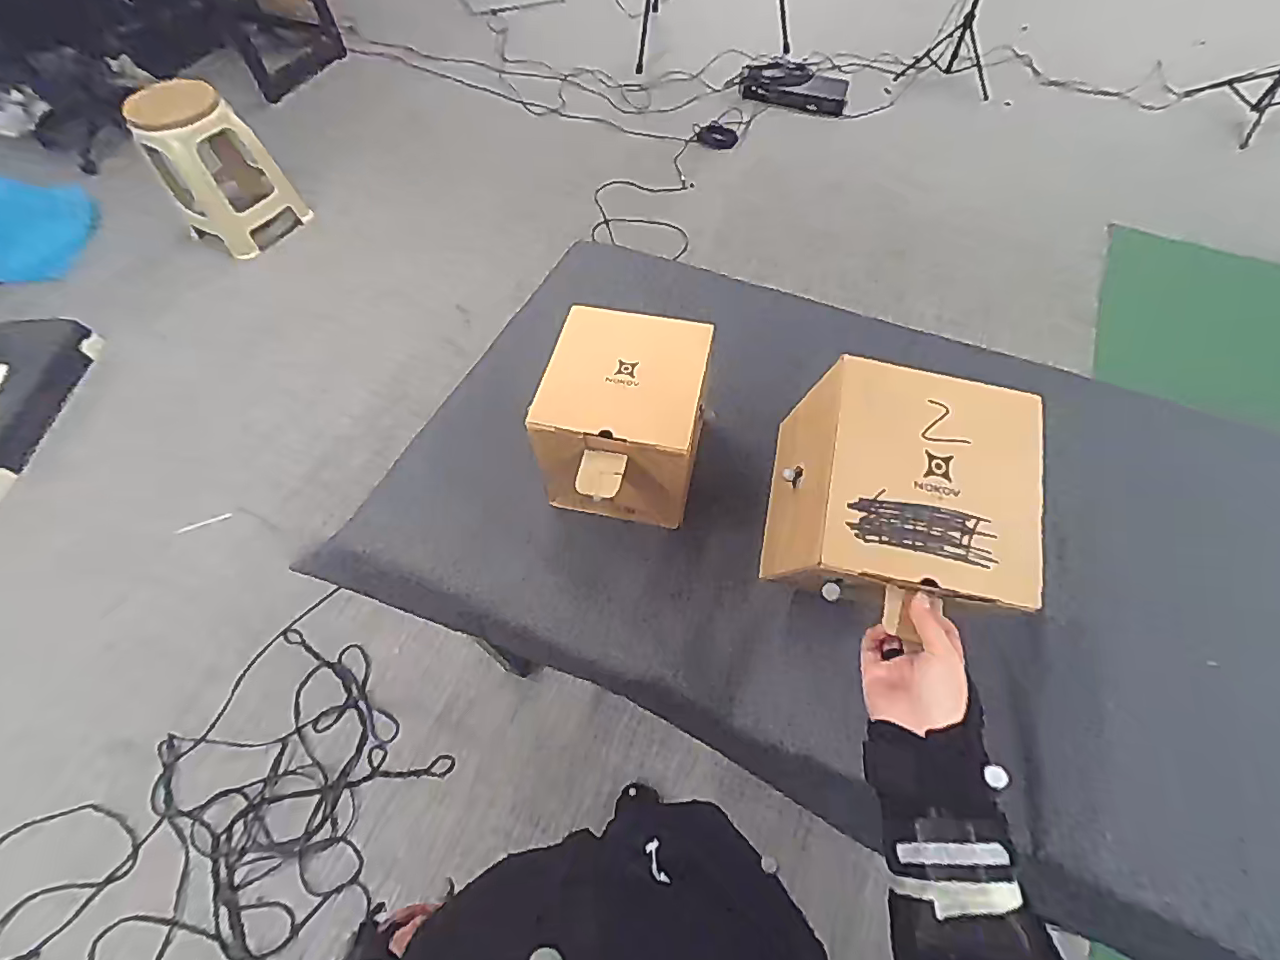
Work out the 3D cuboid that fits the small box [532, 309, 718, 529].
[{"bbox_3d":[-0.012,-0.067,0.634,0.168,0.176,0.179,10,60,6],"label":"small box"}]
